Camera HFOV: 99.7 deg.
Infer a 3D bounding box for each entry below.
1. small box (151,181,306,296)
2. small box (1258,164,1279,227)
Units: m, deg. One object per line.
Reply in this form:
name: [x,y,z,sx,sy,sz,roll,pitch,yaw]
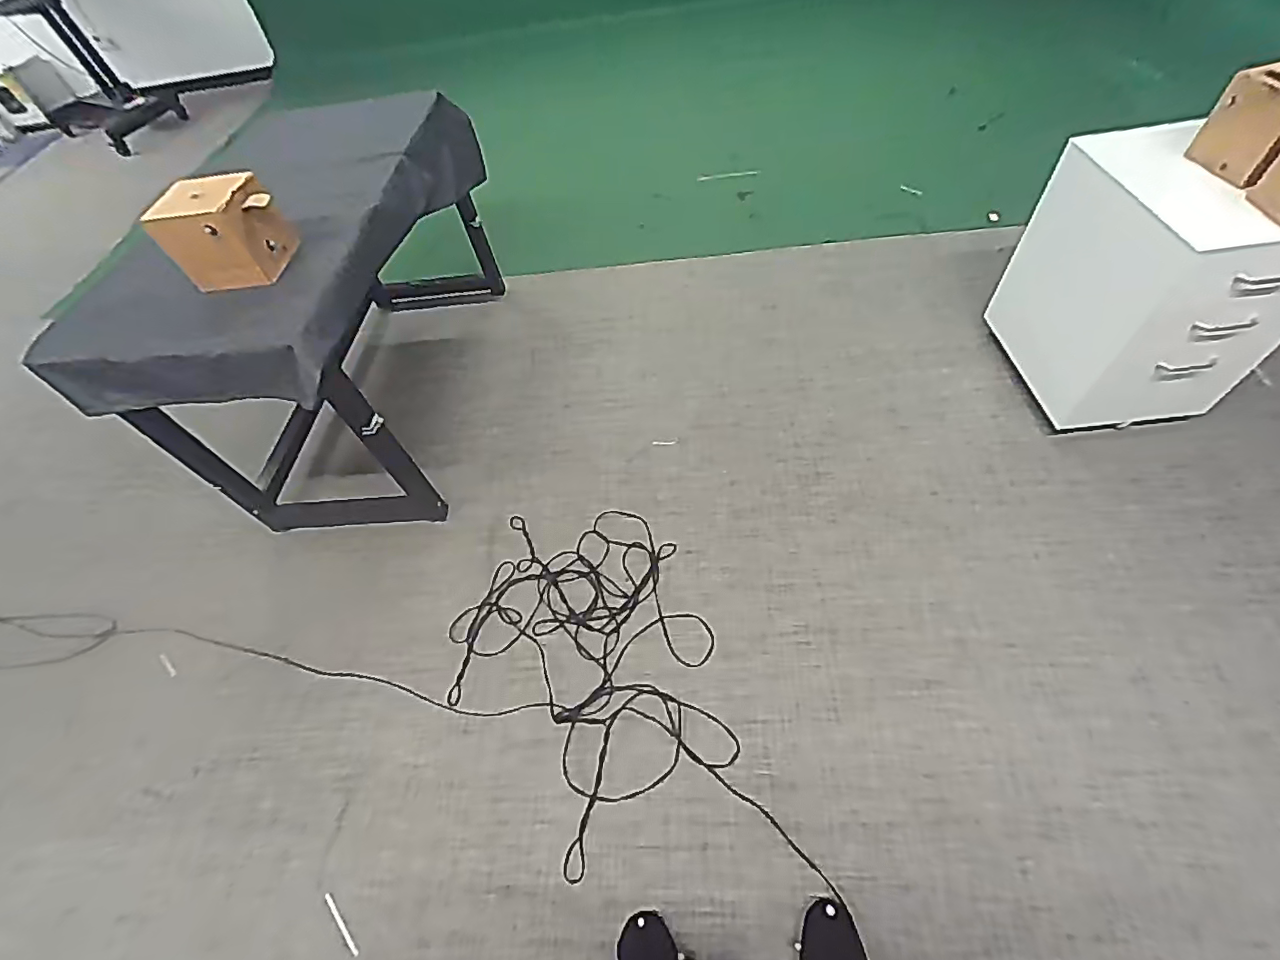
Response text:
small box: [-0.887,-0.523,1.186,0.179,0.176,0.168,-4,53,6]
small box: [1.366,-0.577,1.033,0.179,0.176,0.168,-3,55,6]
